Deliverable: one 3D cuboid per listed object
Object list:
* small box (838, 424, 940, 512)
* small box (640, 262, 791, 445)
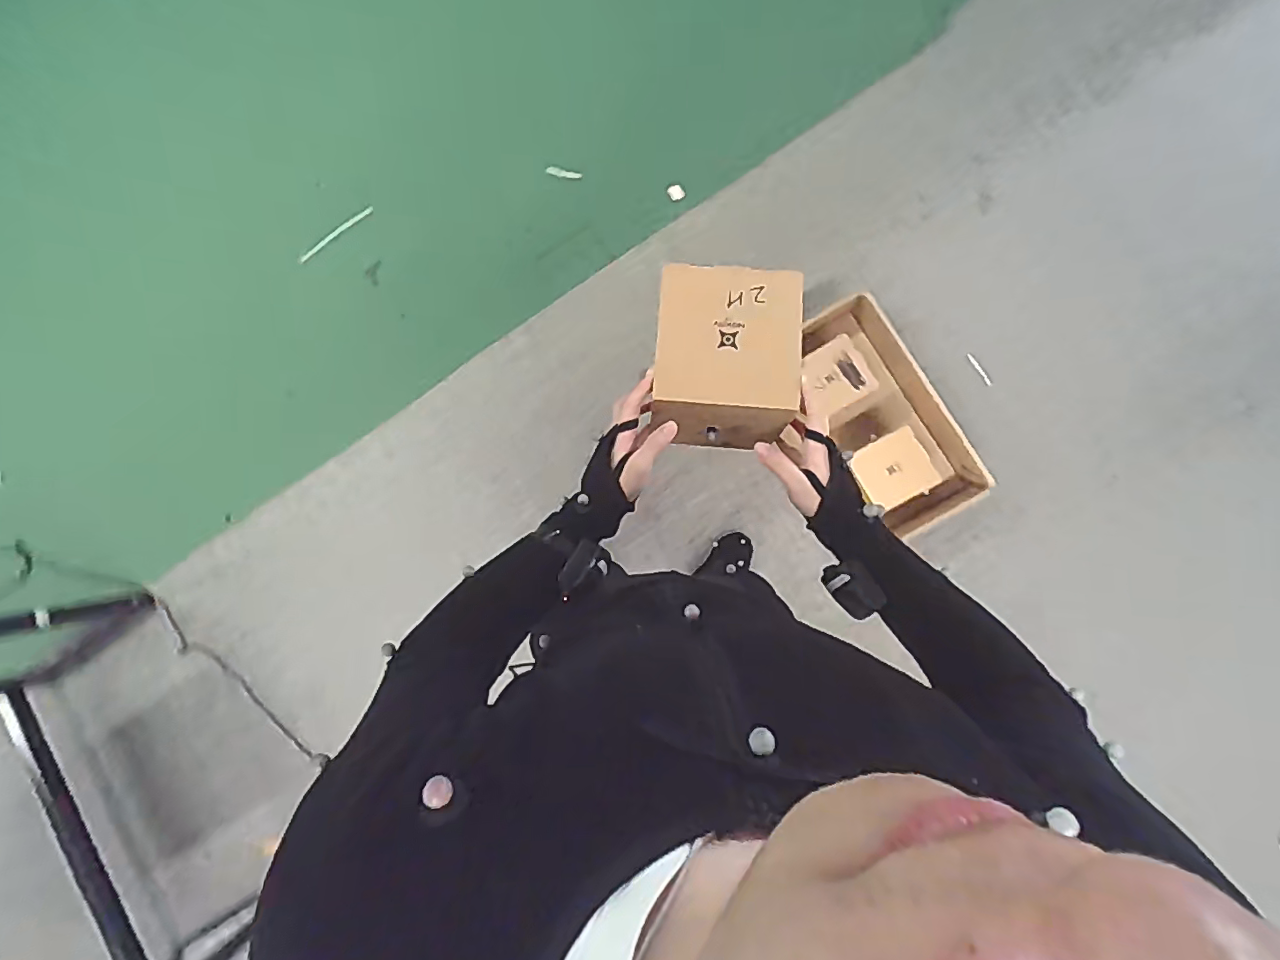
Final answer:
[{"bbox_3d":[0.646,-0.026,1.435,0.179,0.176,0.168,-29,84,6],"label":"small box"},{"bbox_3d":[0.090,-0.150,0.694,0.168,0.176,0.179,4,77,2],"label":"small box"}]
